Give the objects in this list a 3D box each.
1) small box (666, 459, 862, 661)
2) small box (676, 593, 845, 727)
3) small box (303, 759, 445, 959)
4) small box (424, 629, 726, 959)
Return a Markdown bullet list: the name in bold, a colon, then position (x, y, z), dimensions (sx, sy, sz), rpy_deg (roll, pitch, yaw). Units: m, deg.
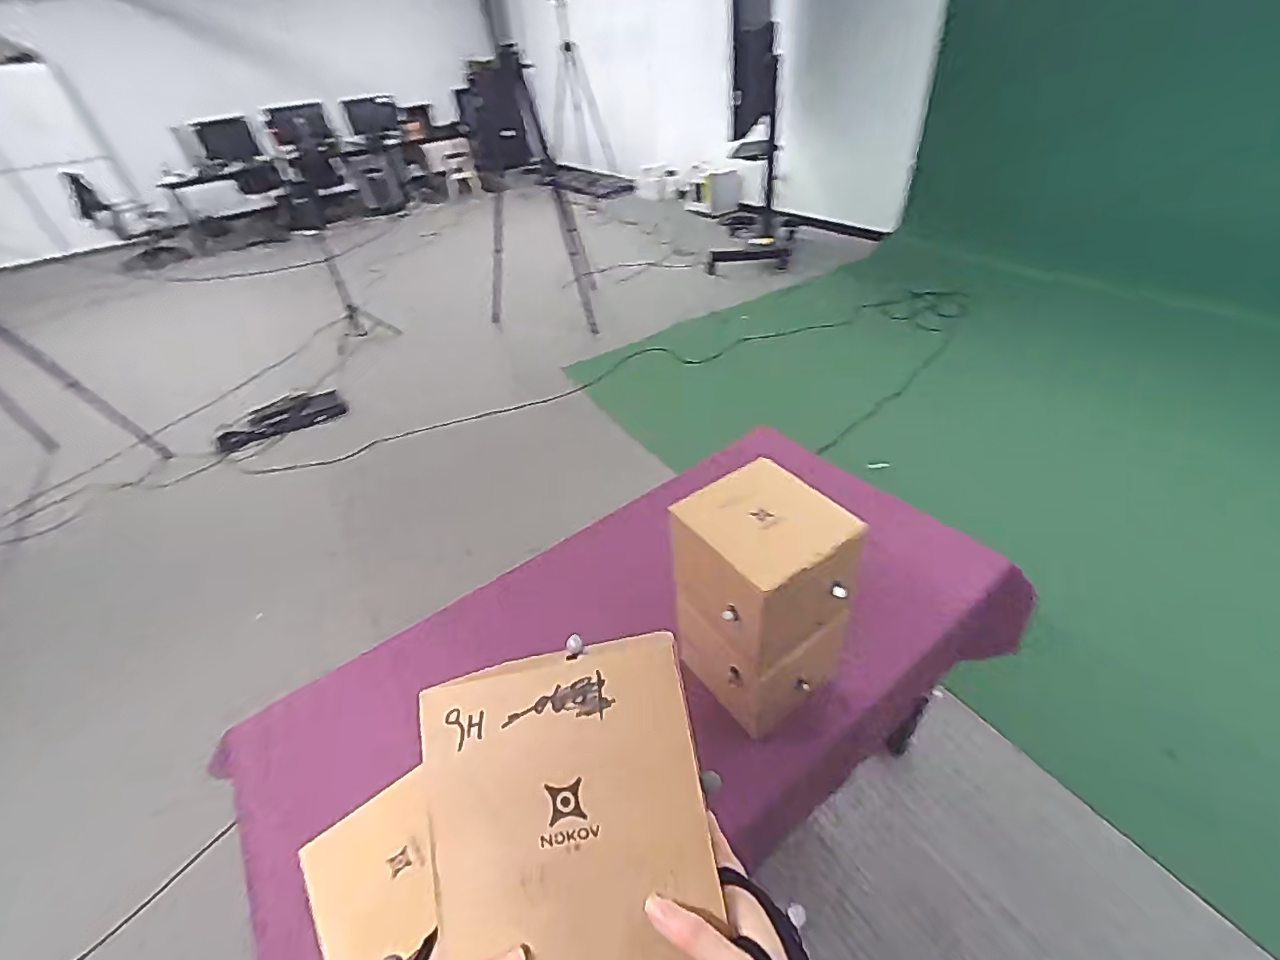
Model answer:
- **small box**: position (0.155, 0.107, 0.706), dimensions (0.168, 0.176, 0.179), rpy_deg (-26, 42, -22)
- **small box**: position (0.173, 0.235, 0.806), dimensions (0.168, 0.176, 0.179), rpy_deg (-27, 43, -23)
- **small box**: position (-0.235, 0.452, 0.608), dimensions (0.179, 0.176, 0.168), rpy_deg (-29, 43, -26)
- **small box**: position (-0.037, 0.215, 0.400), dimensions (0.168, 0.176, 0.179), rpy_deg (-11, 77, 1)
